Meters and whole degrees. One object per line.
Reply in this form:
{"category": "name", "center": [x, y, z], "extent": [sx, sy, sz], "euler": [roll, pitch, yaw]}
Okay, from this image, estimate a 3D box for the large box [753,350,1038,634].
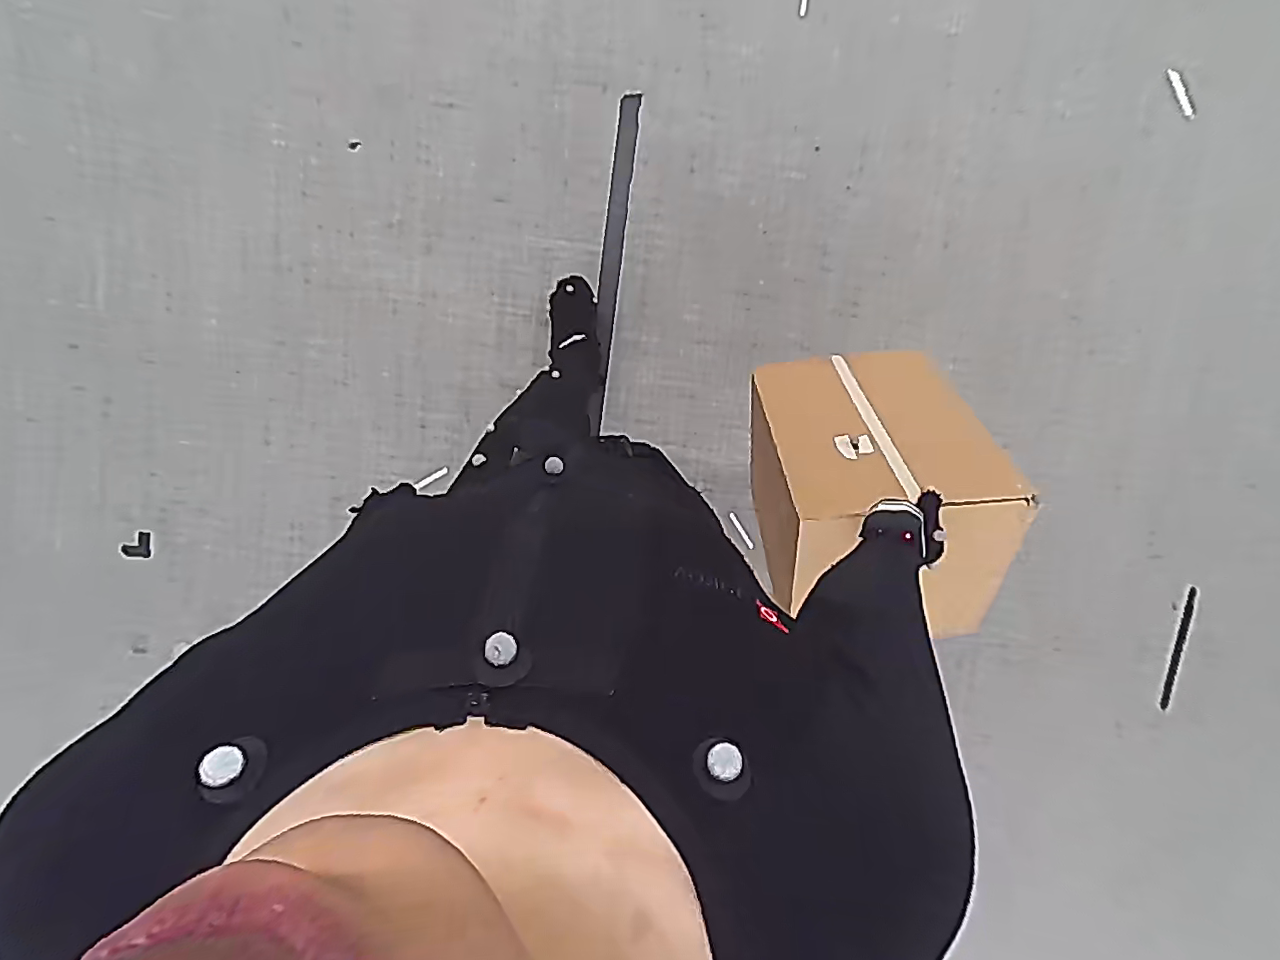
{"category": "large box", "center": [0.393, 0.015, 0.972], "extent": [0.320, 0.408, 0.320], "euler": [-6, 134, 5]}
